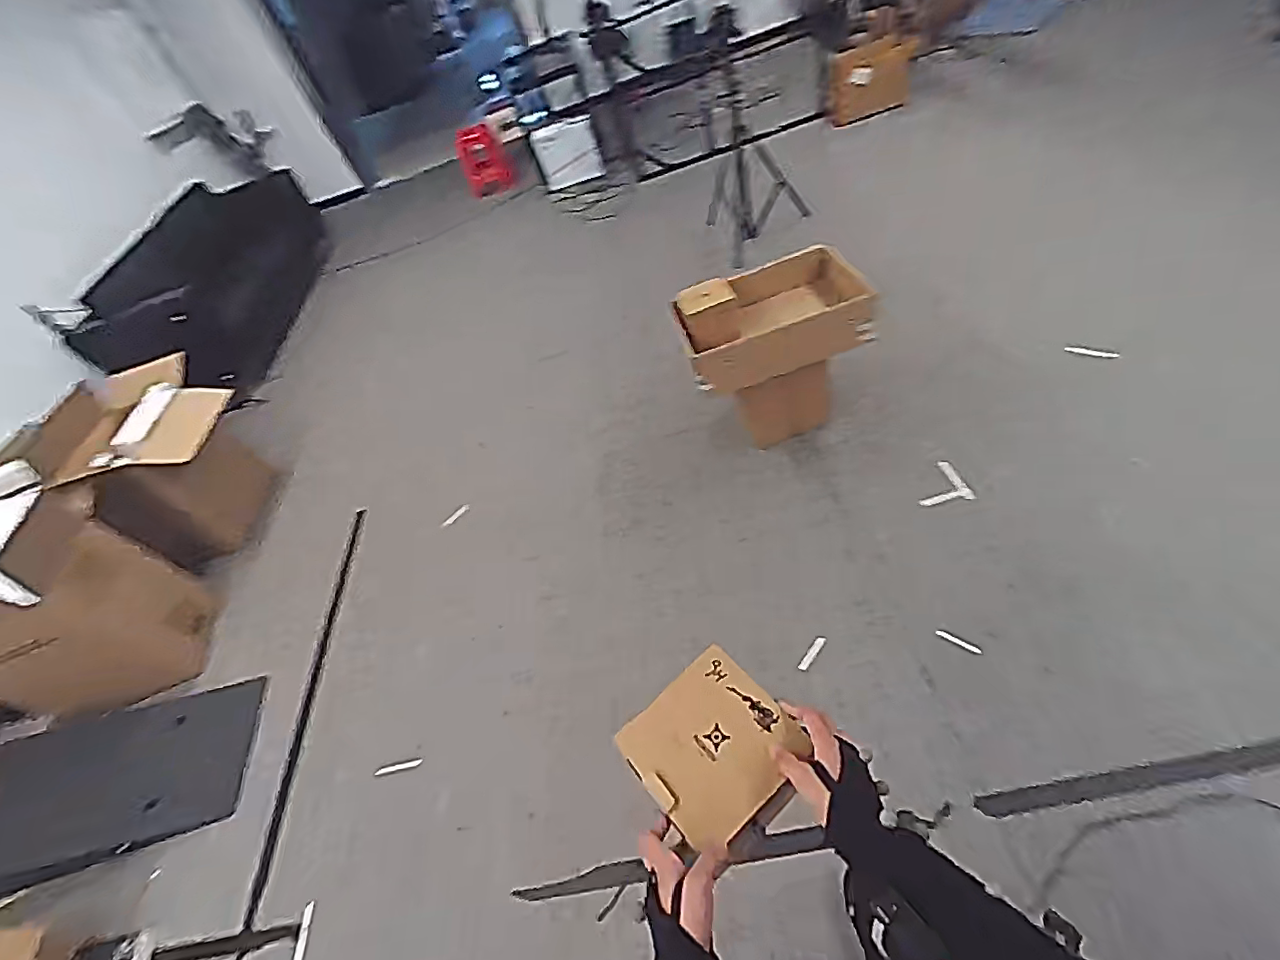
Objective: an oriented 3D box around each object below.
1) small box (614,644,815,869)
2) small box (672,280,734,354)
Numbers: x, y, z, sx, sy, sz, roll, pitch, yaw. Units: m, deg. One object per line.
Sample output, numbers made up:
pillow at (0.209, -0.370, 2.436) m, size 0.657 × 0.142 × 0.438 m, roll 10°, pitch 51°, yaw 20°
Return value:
small box at (0.099, 0.349, 0.677) m, size 0.179 × 0.176 × 0.168 m, roll -37°, pitch 52°, yaw -15°
small box at (0.233, -0.592, 1.969) m, size 0.179 × 0.176 × 0.168 m, roll -21°, pitch 46°, yaw 3°
